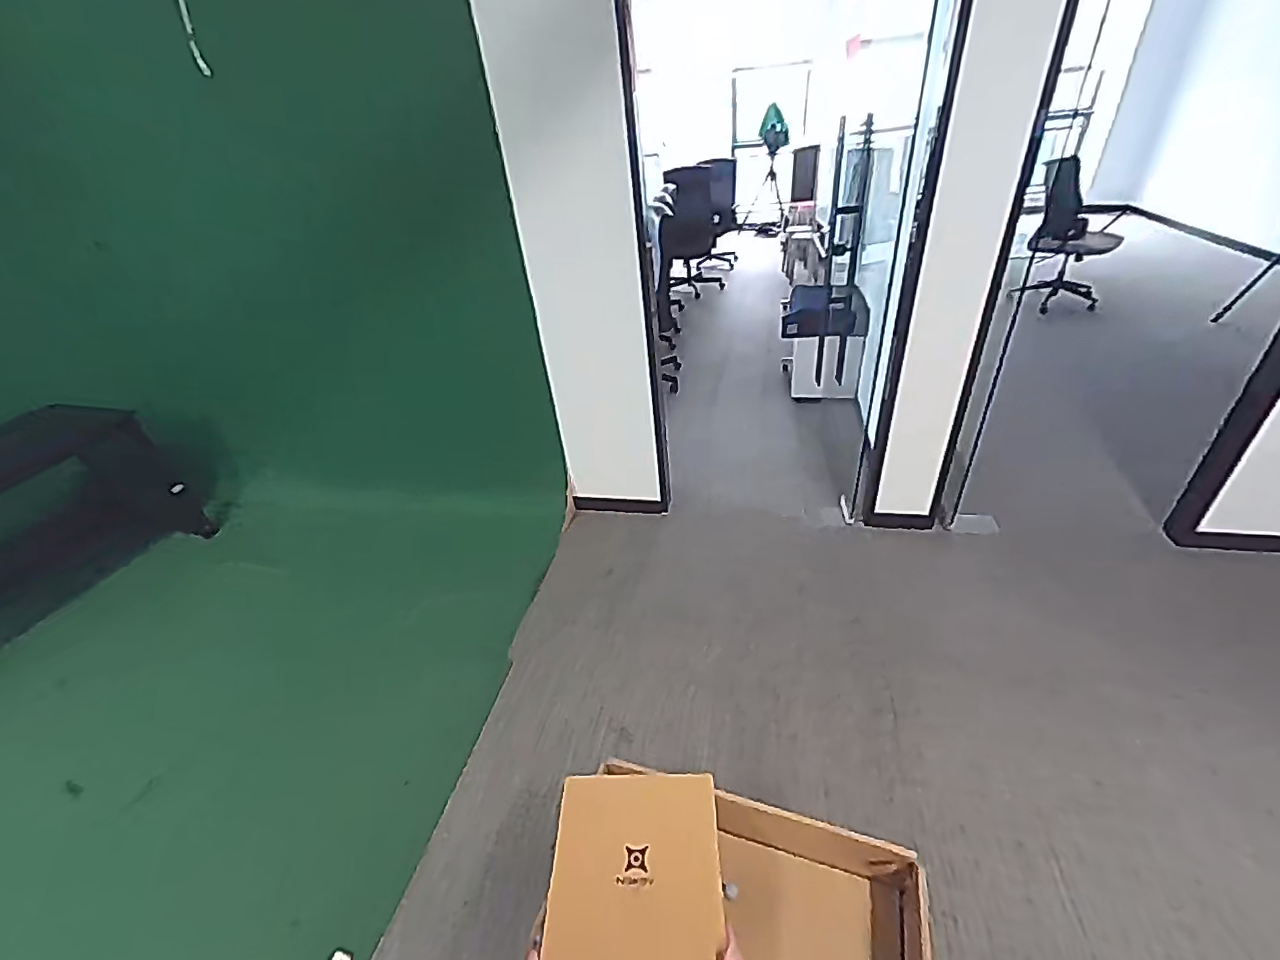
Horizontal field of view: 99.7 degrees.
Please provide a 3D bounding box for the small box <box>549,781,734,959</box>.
[{"bbox_3d":[0.005,0.448,0.572,0.168,0.176,0.179,-1,36,2],"label":"small box"}]
